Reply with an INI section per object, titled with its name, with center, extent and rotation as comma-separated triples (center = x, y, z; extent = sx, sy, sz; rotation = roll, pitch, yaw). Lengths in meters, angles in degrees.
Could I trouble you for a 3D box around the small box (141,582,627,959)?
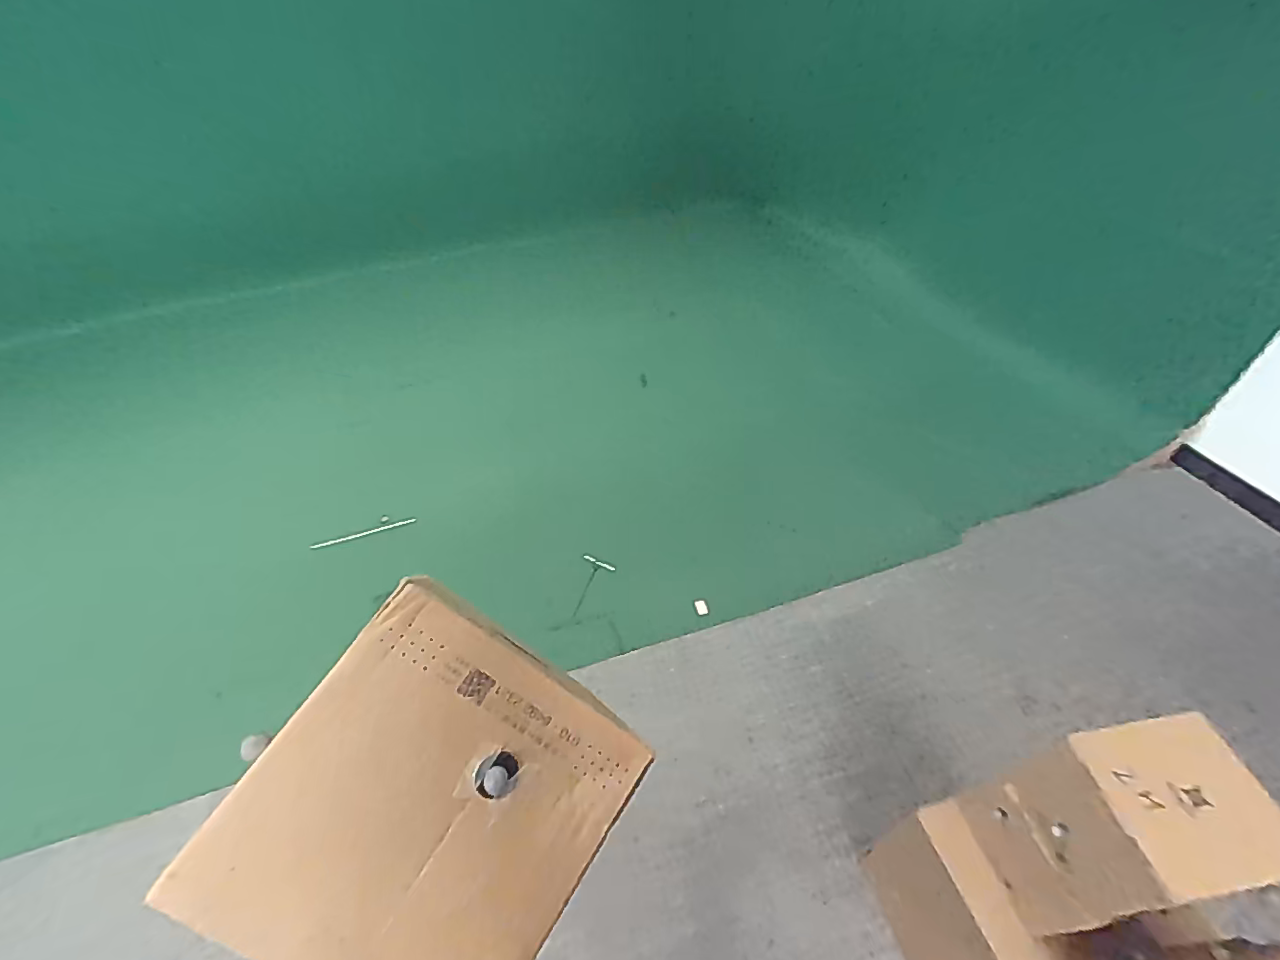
[small box]
center = -0.131, 0.178, 0.345
extent = 0.168, 0.179, 0.176
rotation = 38, 71, -9
